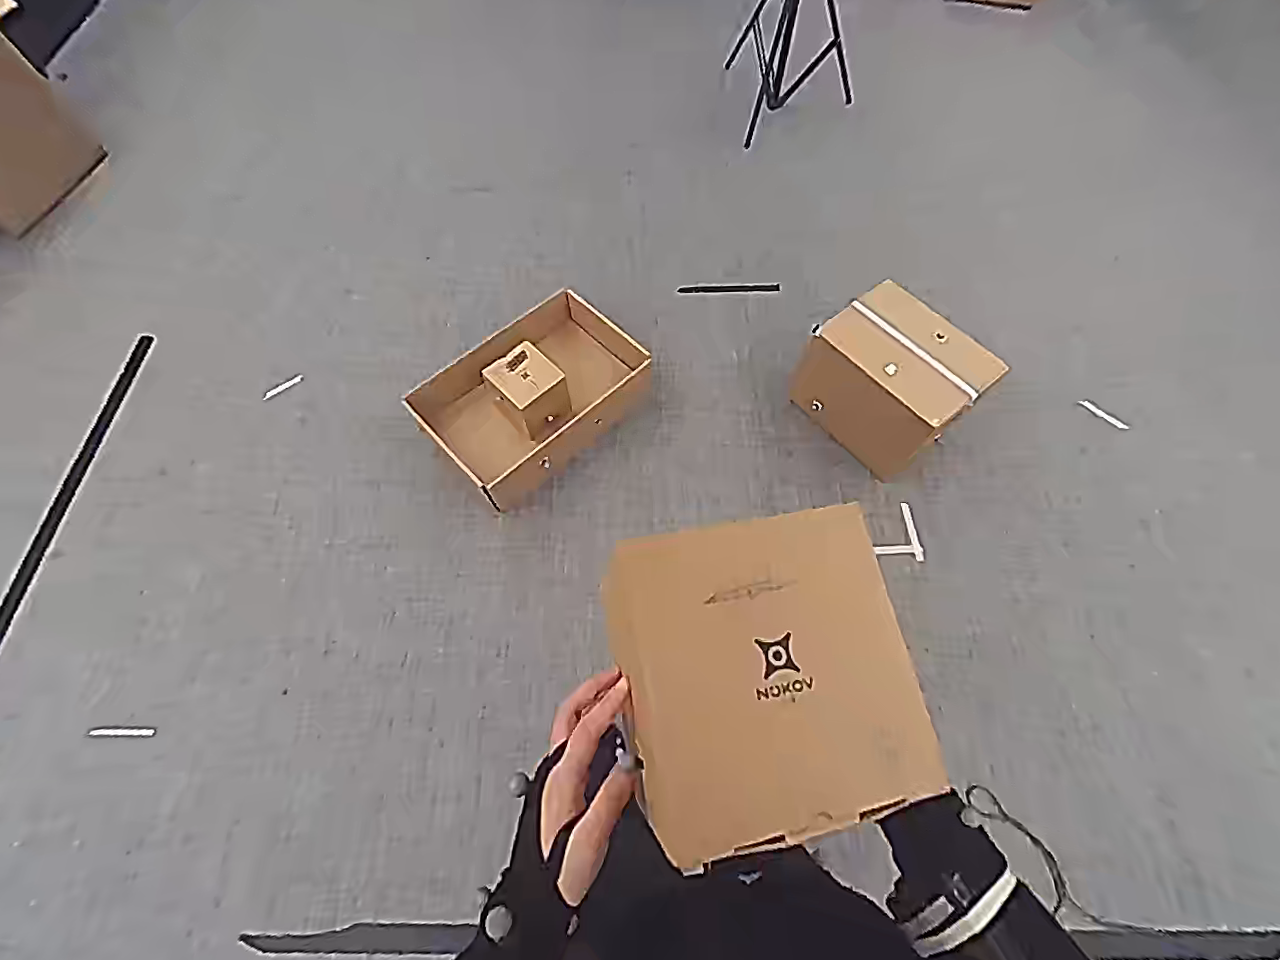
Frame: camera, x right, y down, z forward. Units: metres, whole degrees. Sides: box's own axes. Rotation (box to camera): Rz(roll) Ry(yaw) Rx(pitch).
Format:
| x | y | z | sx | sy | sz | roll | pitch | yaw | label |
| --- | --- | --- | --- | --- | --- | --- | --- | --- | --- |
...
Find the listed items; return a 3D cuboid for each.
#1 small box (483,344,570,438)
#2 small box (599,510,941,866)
| x | y | z | sx | sy | sz | roll | pitch | yaw | label |
| --- | --- | --- | --- | --- | --- | --- | --- | --- | --- |
| -0.326 | -0.256 | 1.585 | 0.168 | 0.176 | 0.179 | -41 | 71 | -18 | small box |
| 0.069 | 0.138 | 0.397 | 0.168 | 0.176 | 0.179 | -9 | 71 | -13 | small box |
